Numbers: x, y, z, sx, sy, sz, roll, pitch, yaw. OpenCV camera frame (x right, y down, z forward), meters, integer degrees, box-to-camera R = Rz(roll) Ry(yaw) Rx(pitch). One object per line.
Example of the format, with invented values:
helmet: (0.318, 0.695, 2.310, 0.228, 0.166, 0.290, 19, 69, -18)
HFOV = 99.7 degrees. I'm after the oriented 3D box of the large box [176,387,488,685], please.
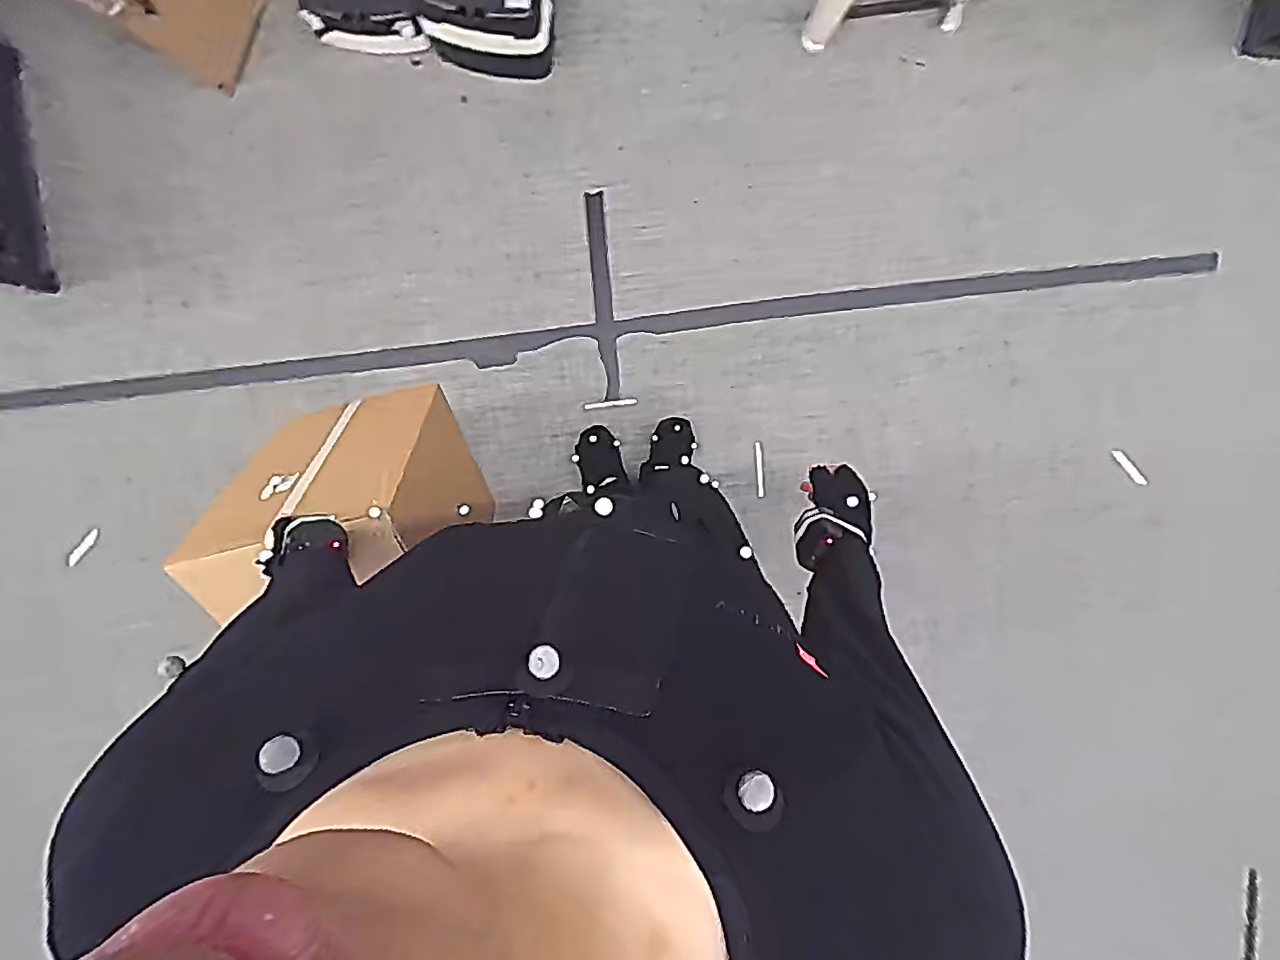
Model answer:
large box: (-0.483, 0.083, 0.975, 0.320, 0.408, 0.320, -14, 126, 0)
